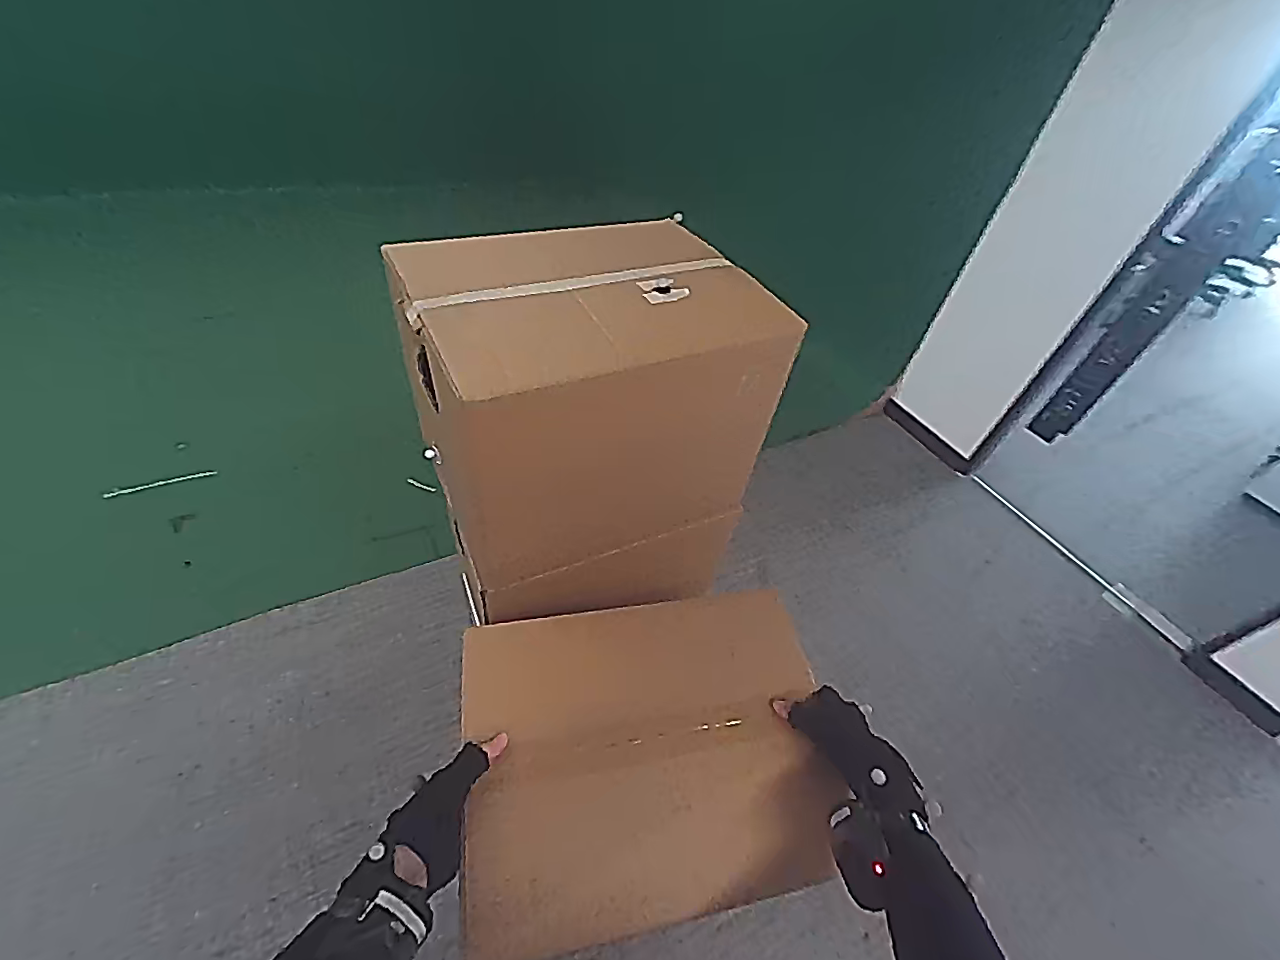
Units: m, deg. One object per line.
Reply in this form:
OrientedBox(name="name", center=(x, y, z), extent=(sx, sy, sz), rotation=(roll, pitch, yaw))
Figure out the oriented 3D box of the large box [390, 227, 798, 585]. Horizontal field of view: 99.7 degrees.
OrientedBox(name="large box", center=(-0.073, -0.120, 0.741), extent=(0.408, 0.320, 0.320), rotation=(-17, 52, -25))
